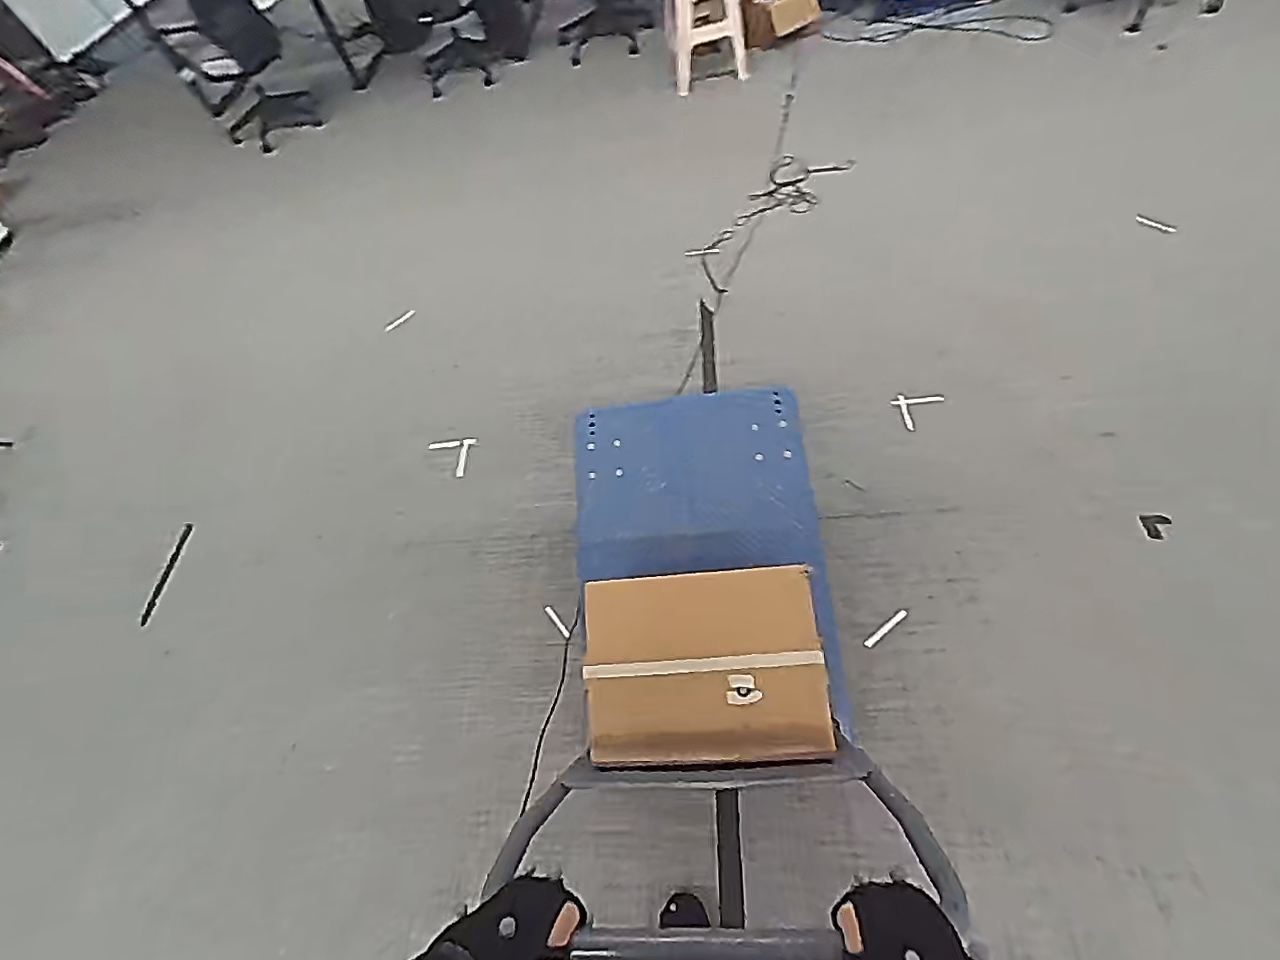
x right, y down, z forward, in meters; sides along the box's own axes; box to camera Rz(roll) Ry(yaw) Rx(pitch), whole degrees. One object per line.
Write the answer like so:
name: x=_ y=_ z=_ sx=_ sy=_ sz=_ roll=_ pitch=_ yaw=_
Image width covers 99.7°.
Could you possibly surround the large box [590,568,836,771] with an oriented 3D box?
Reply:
large box: x=0.133 y=0.373 z=1.088 sx=0.408 sy=0.320 sz=0.320 roll=-6 pitch=73 yaw=6
